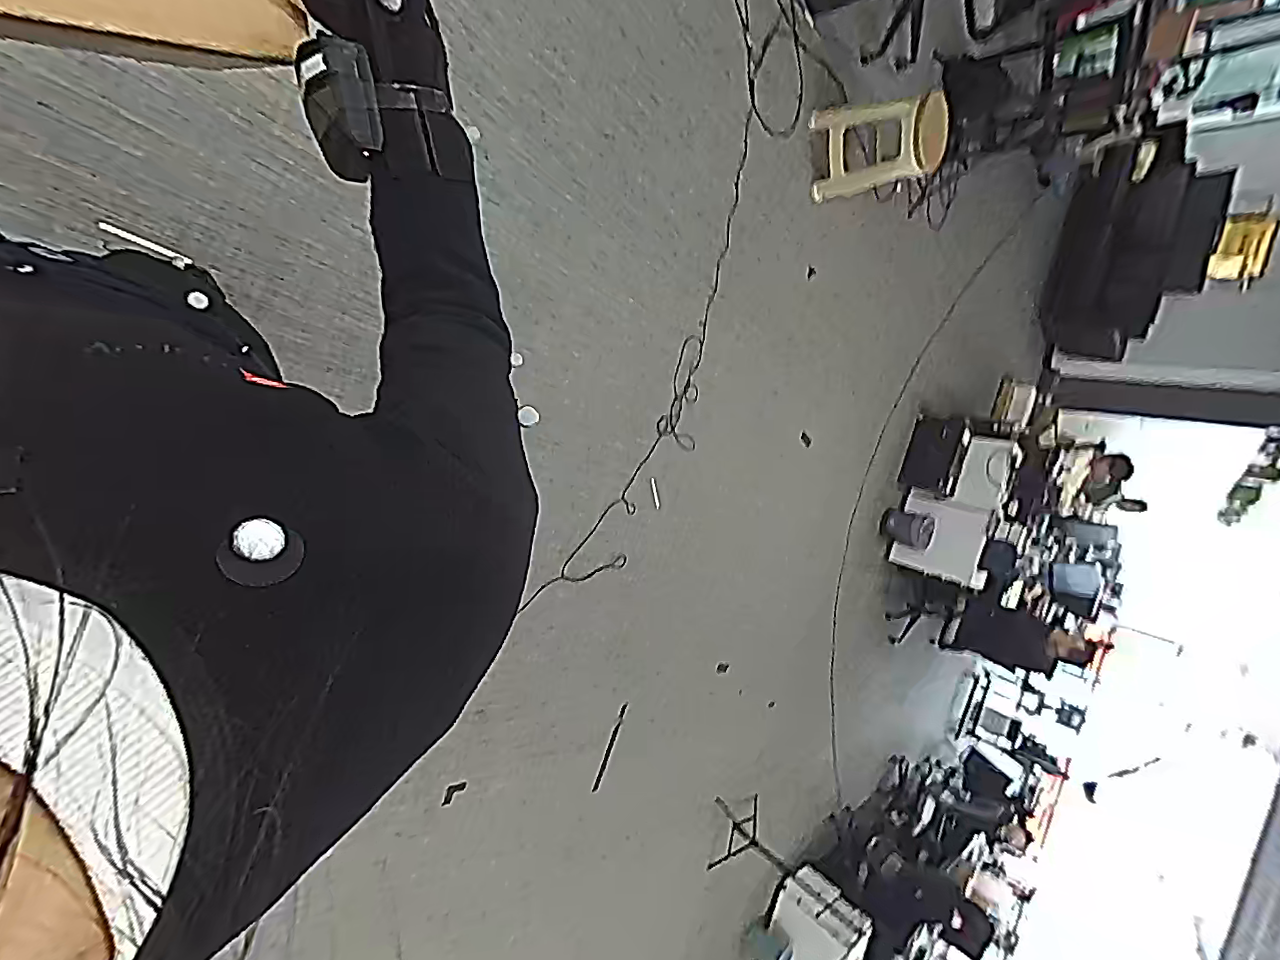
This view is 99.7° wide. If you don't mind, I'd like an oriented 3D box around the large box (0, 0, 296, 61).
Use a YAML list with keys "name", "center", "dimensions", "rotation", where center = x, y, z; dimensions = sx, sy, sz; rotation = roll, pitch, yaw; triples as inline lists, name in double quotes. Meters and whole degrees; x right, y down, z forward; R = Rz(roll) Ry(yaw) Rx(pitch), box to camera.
- name: "large box"
  center: [-0.455, -0.413, 0.242]
  dimensions: [0.408, 0.320, 0.320]
  rotation: [-22, 132, -38]
